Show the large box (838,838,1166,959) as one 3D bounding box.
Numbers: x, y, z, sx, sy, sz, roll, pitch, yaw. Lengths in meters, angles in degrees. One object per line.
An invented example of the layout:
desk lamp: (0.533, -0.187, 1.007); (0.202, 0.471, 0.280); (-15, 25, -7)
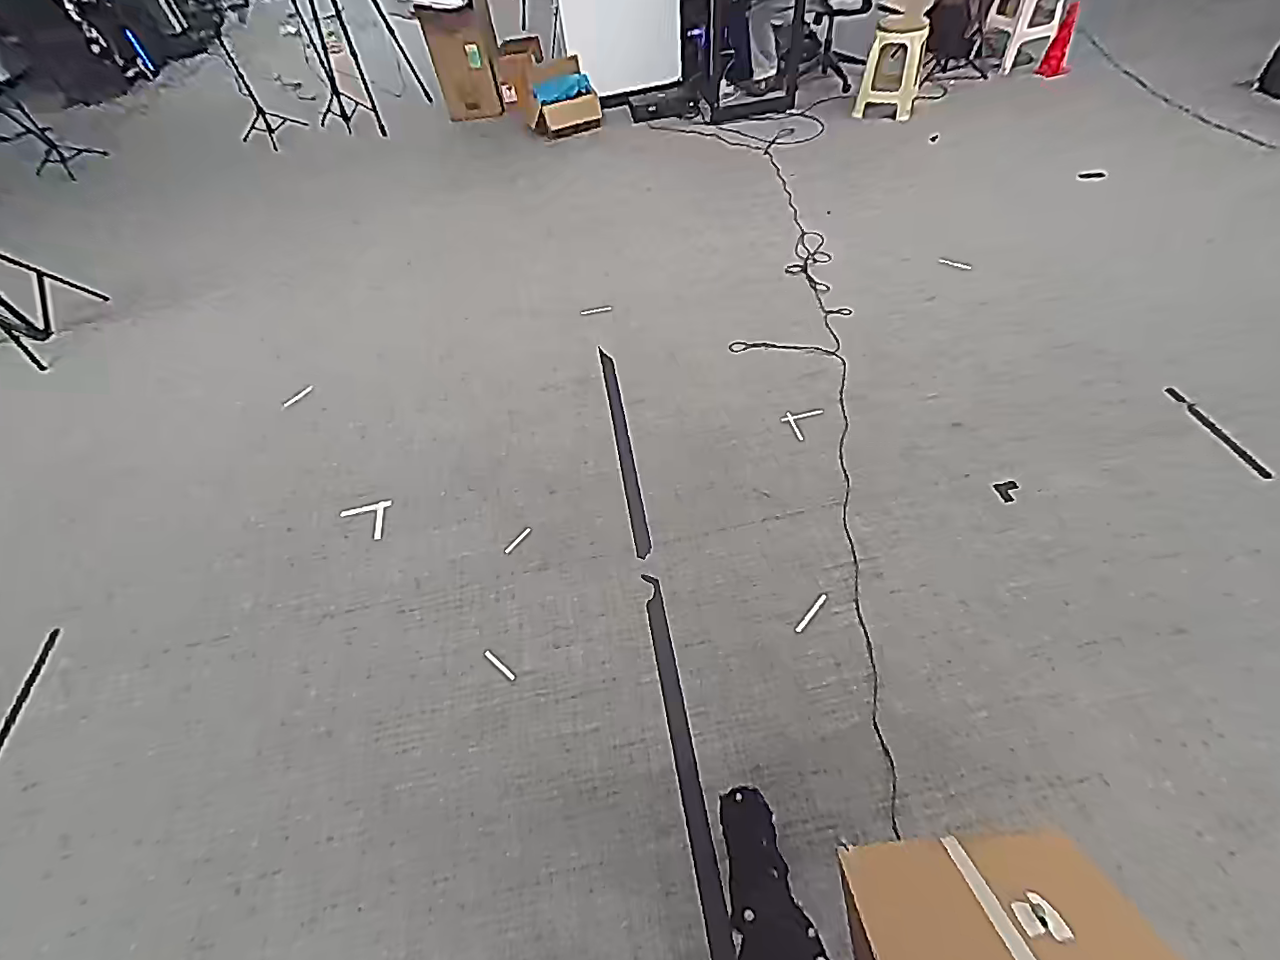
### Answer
large box: (0.452, 0.698, 0.601); (0.320, 0.408, 0.320); (-7, 93, 5)
